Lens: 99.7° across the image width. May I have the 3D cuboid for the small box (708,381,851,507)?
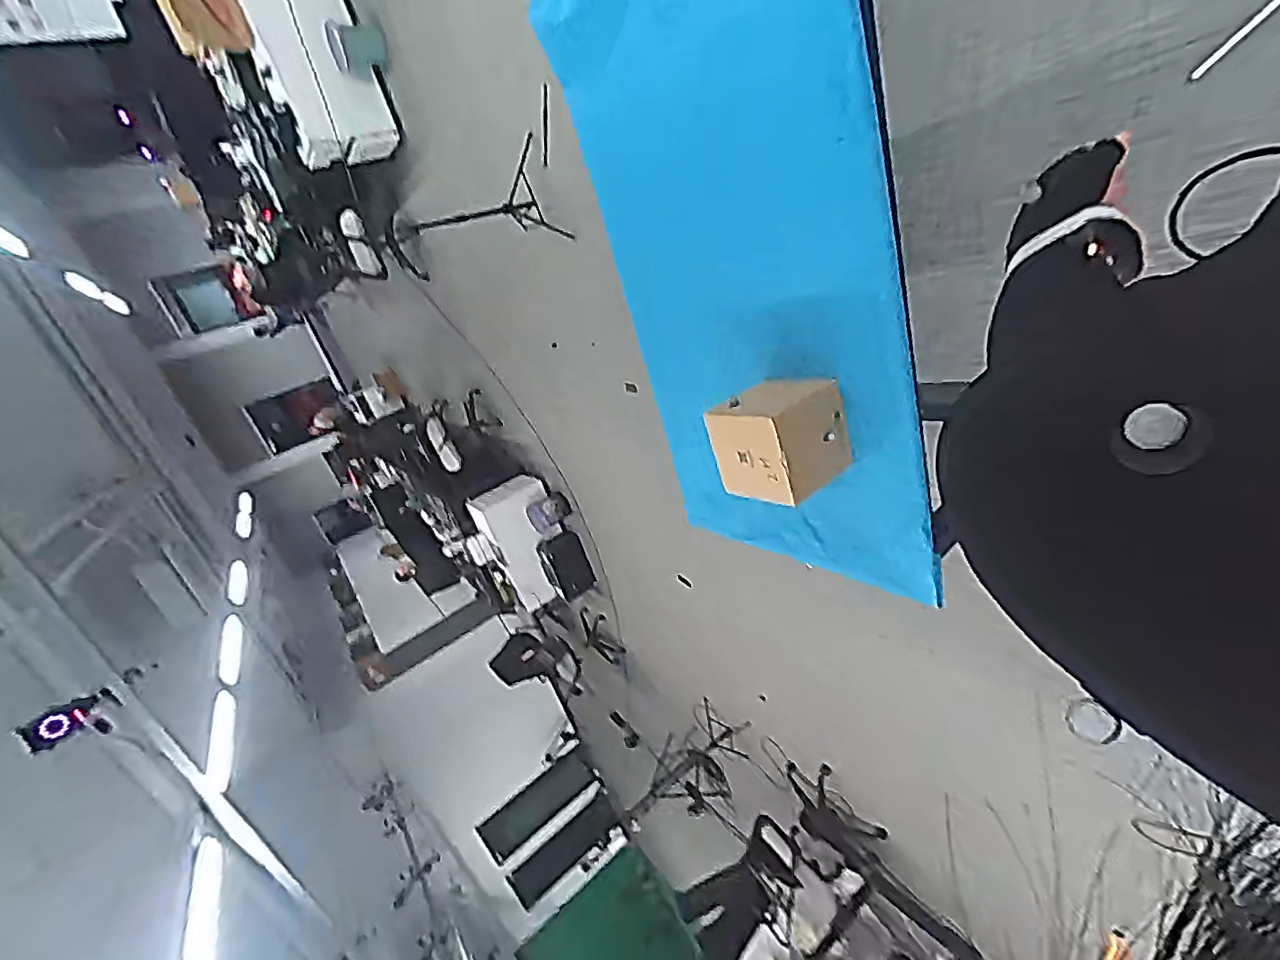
[{"bbox_3d":[0.258,-0.075,0.995,0.179,0.176,0.168,15,130,52],"label":"small box"}]
